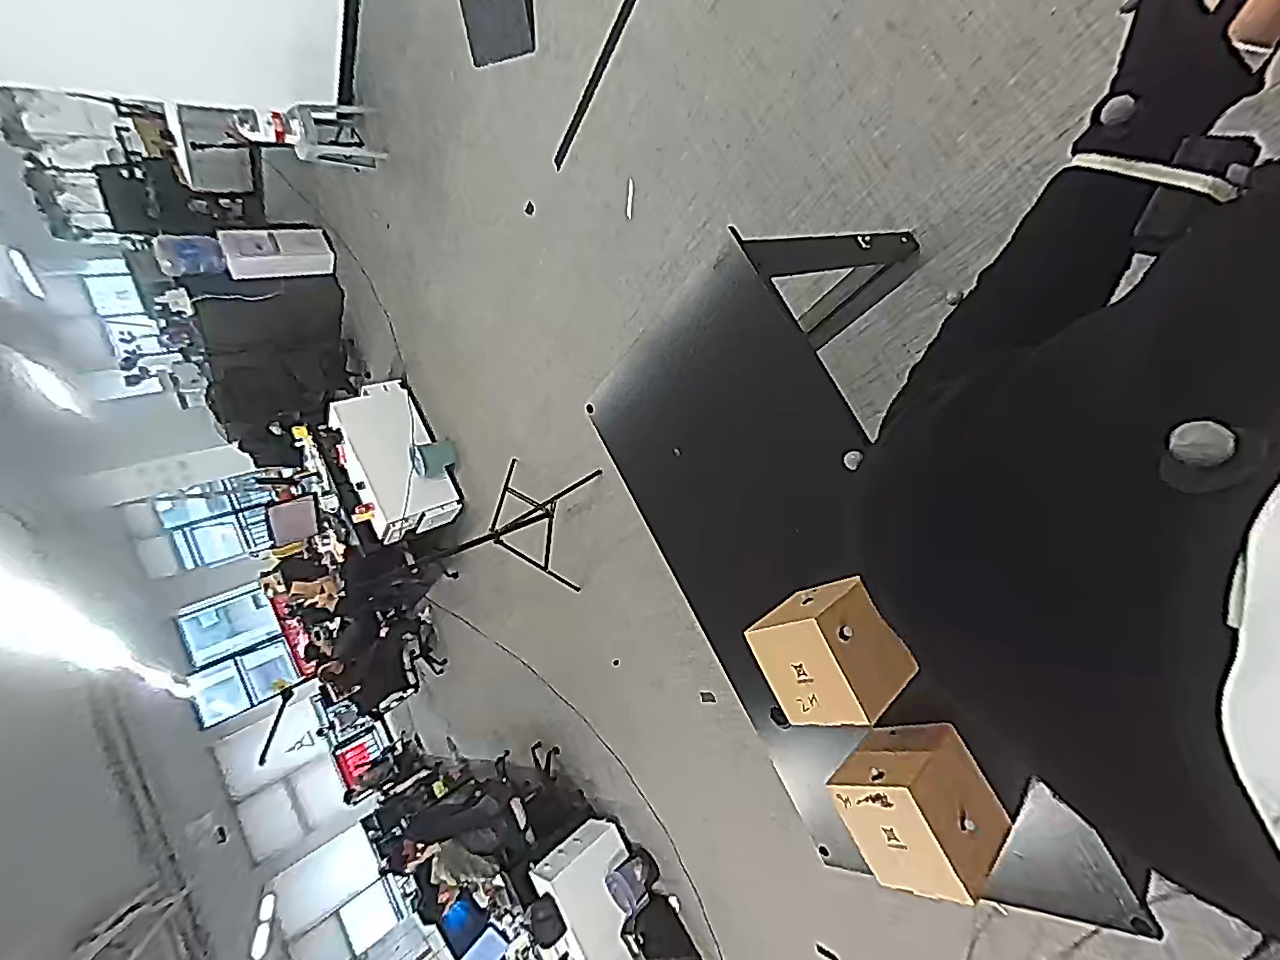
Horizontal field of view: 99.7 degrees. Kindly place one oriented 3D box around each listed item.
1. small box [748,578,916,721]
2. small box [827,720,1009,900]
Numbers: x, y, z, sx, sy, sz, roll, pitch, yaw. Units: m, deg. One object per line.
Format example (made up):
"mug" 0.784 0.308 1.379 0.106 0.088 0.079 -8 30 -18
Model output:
"small box" 0.323 0.280 0.913 0.168 0.176 0.179 -36 79 53
"small box" 0.451 0.519 0.877 0.179 0.176 0.168 60 143 9
